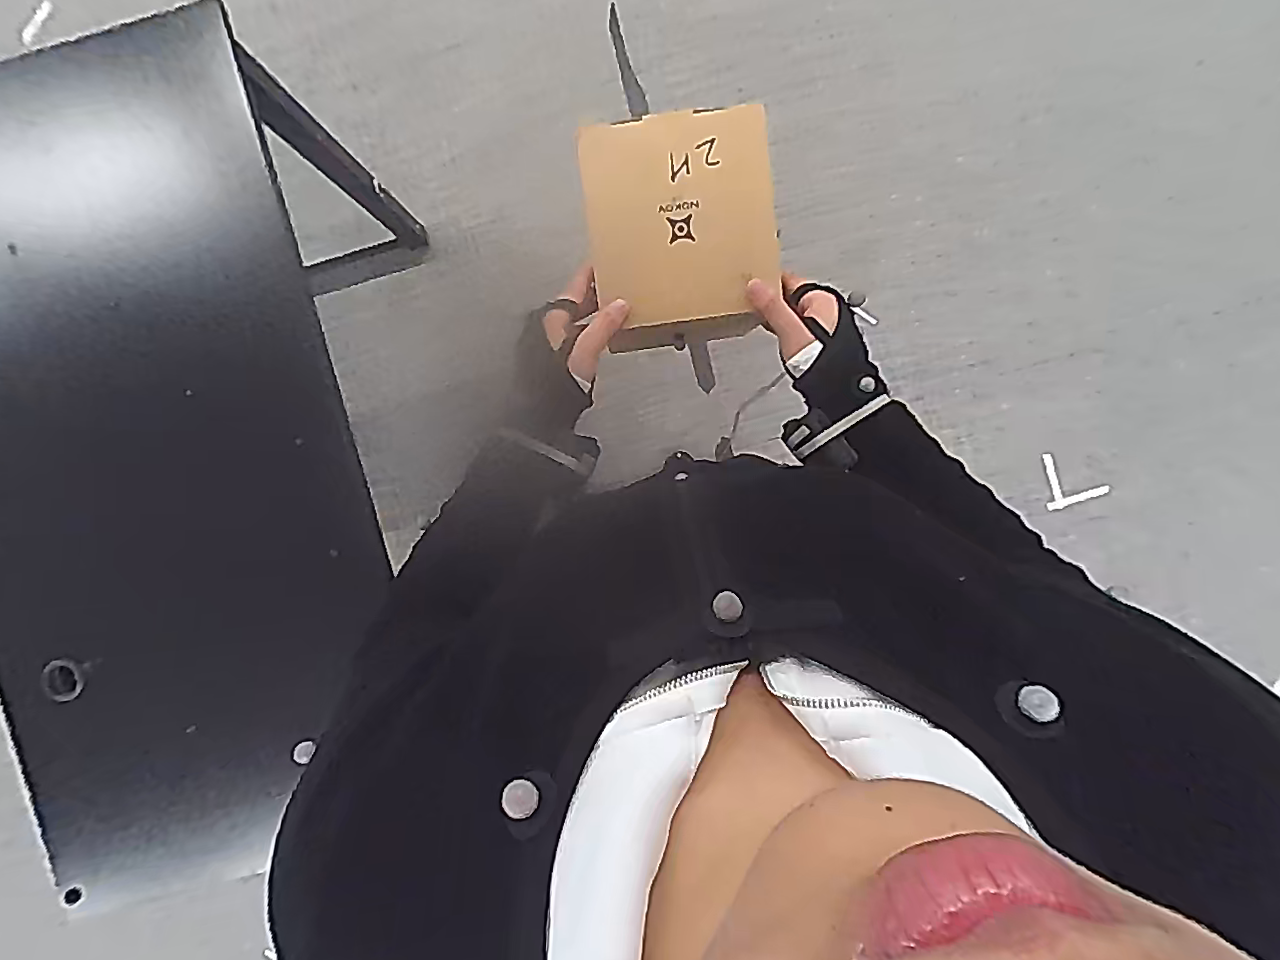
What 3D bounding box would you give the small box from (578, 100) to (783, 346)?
[{"bbox_3d":[0.038,-0.238,0.552,0.168,0.176,0.179,-8,95,1],"label":"small box"}]
